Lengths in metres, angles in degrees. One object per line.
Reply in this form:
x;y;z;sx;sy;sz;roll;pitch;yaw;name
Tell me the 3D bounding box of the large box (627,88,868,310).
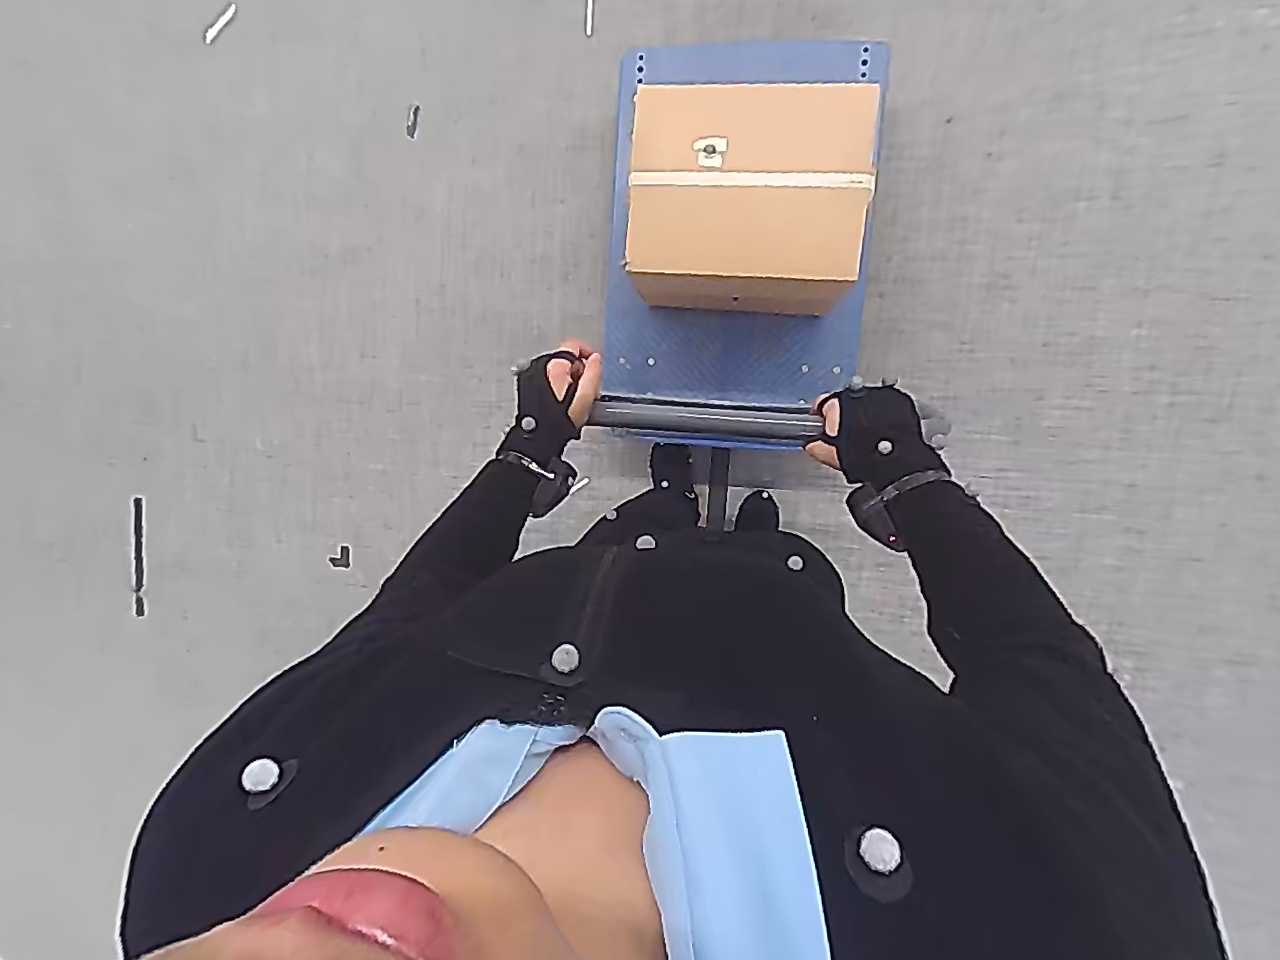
0.205;-0.532;1.092;0.408;0.320;0.320;5;96;9;large box
